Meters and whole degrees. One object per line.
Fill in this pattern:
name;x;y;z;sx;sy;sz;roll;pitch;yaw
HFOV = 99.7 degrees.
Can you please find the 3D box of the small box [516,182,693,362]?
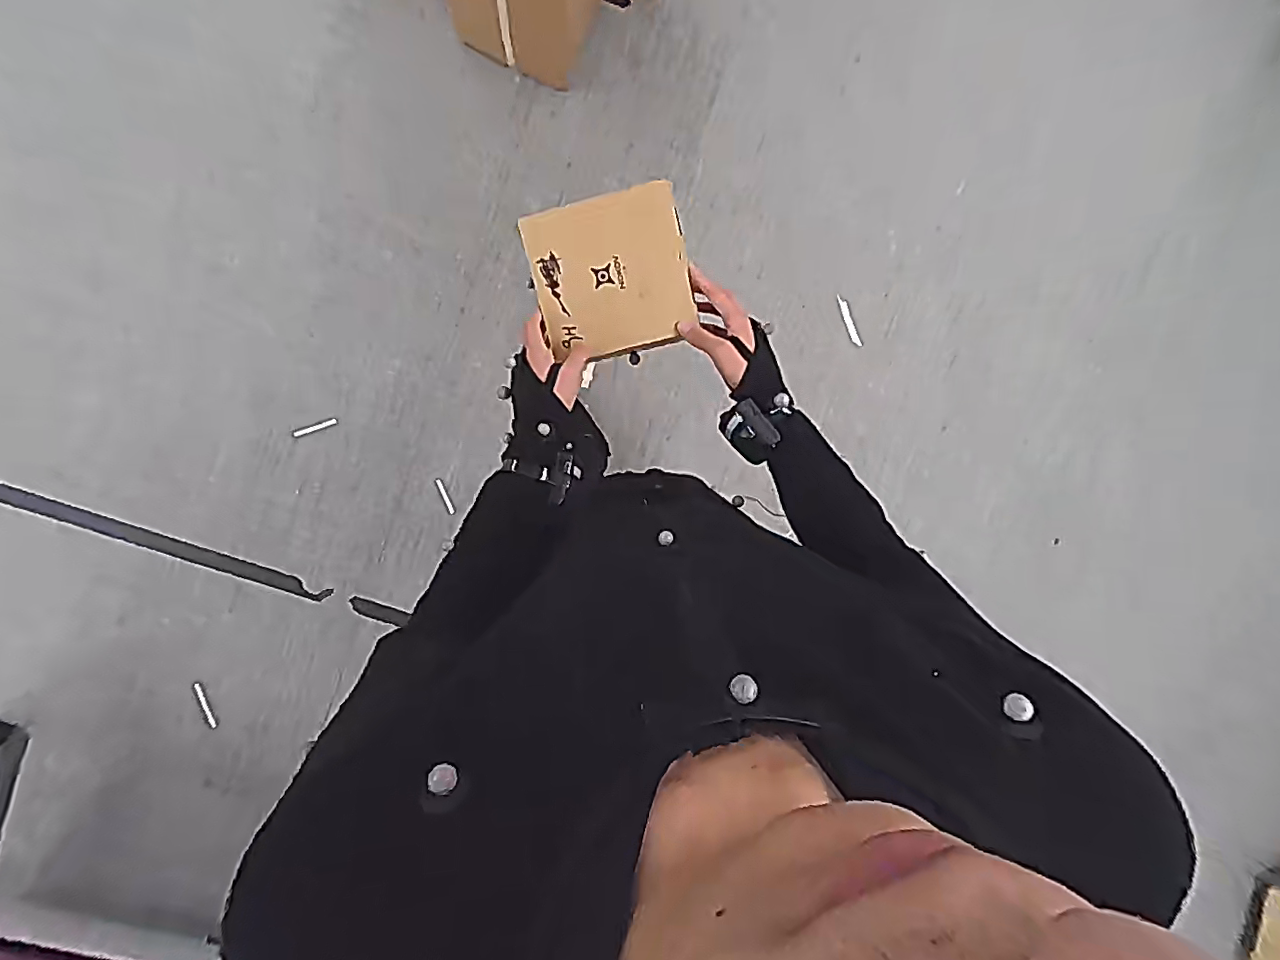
small box;-0.039;-0.253;0.696;0.179;0.176;0.168;-13;102;4
